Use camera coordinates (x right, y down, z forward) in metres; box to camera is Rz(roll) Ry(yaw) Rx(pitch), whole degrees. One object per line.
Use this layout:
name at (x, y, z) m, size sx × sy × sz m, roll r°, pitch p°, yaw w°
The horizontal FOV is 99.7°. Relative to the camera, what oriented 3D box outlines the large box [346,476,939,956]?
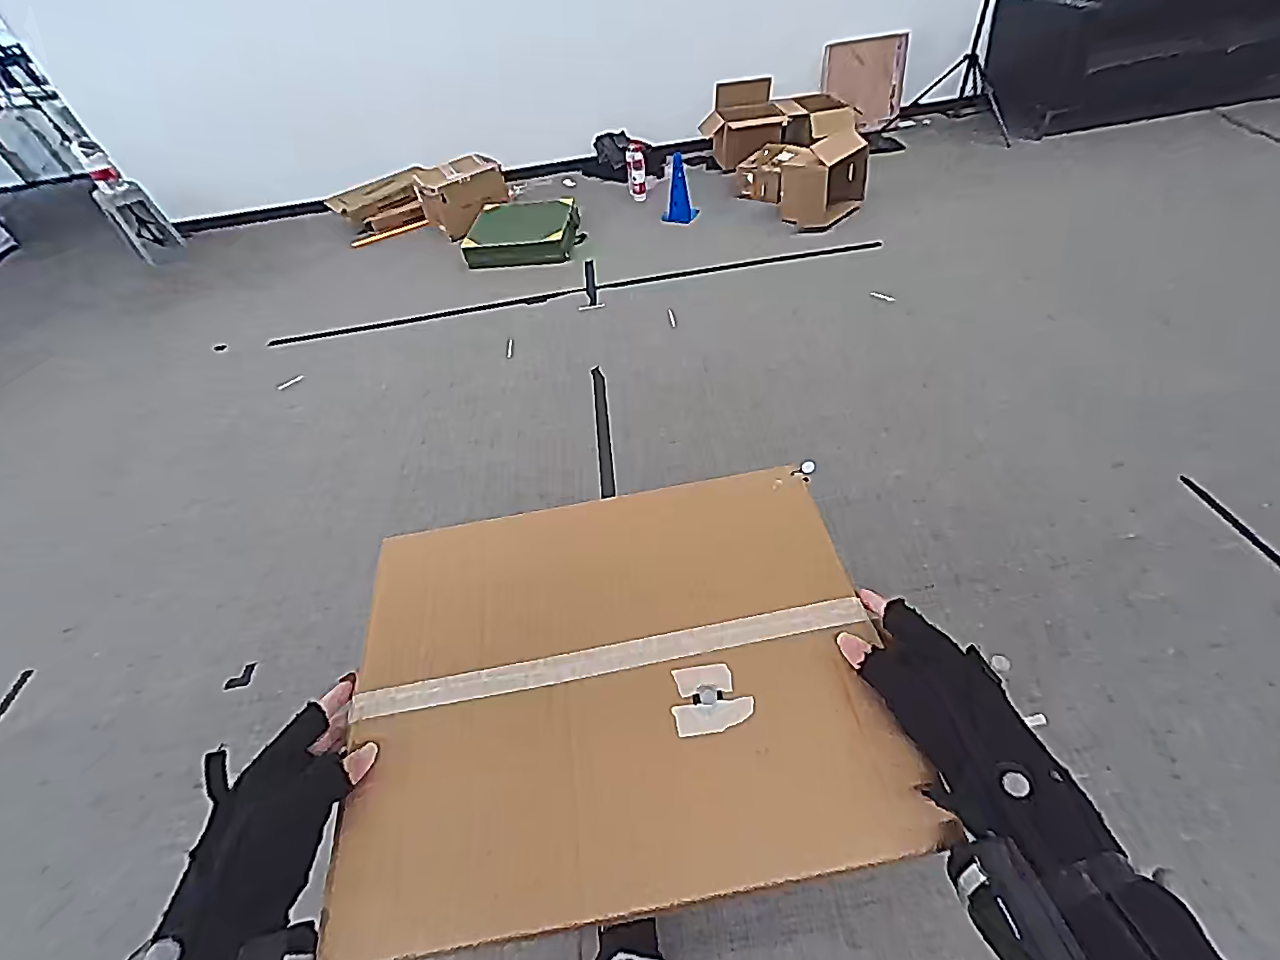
large box at (-0.006, 0.241, 0.557) m, size 0.408 × 0.320 × 0.320 m, roll -10°, pitch 52°, yaw -1°
